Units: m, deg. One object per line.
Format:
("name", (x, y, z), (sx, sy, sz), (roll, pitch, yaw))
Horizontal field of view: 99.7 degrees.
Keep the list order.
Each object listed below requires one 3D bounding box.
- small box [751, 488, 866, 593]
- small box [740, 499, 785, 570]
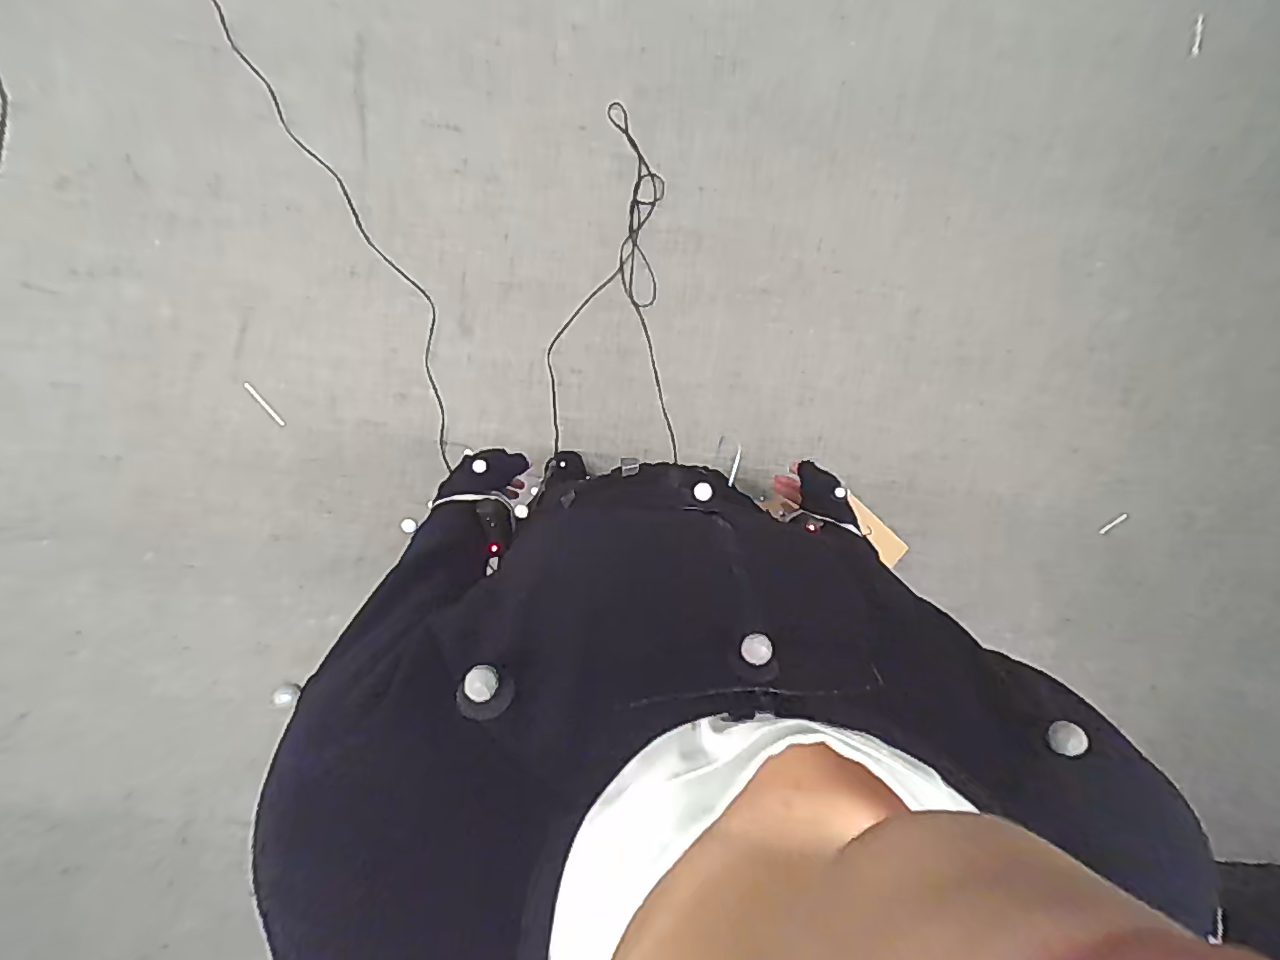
("small box", (0.386, 0.132, 1.275), (0.168, 0.176, 0.179), (35, 90, -5))
("small box", (0.366, 0.141, 1.422), (0.179, 0.176, 0.168), (0, 93, -5))
